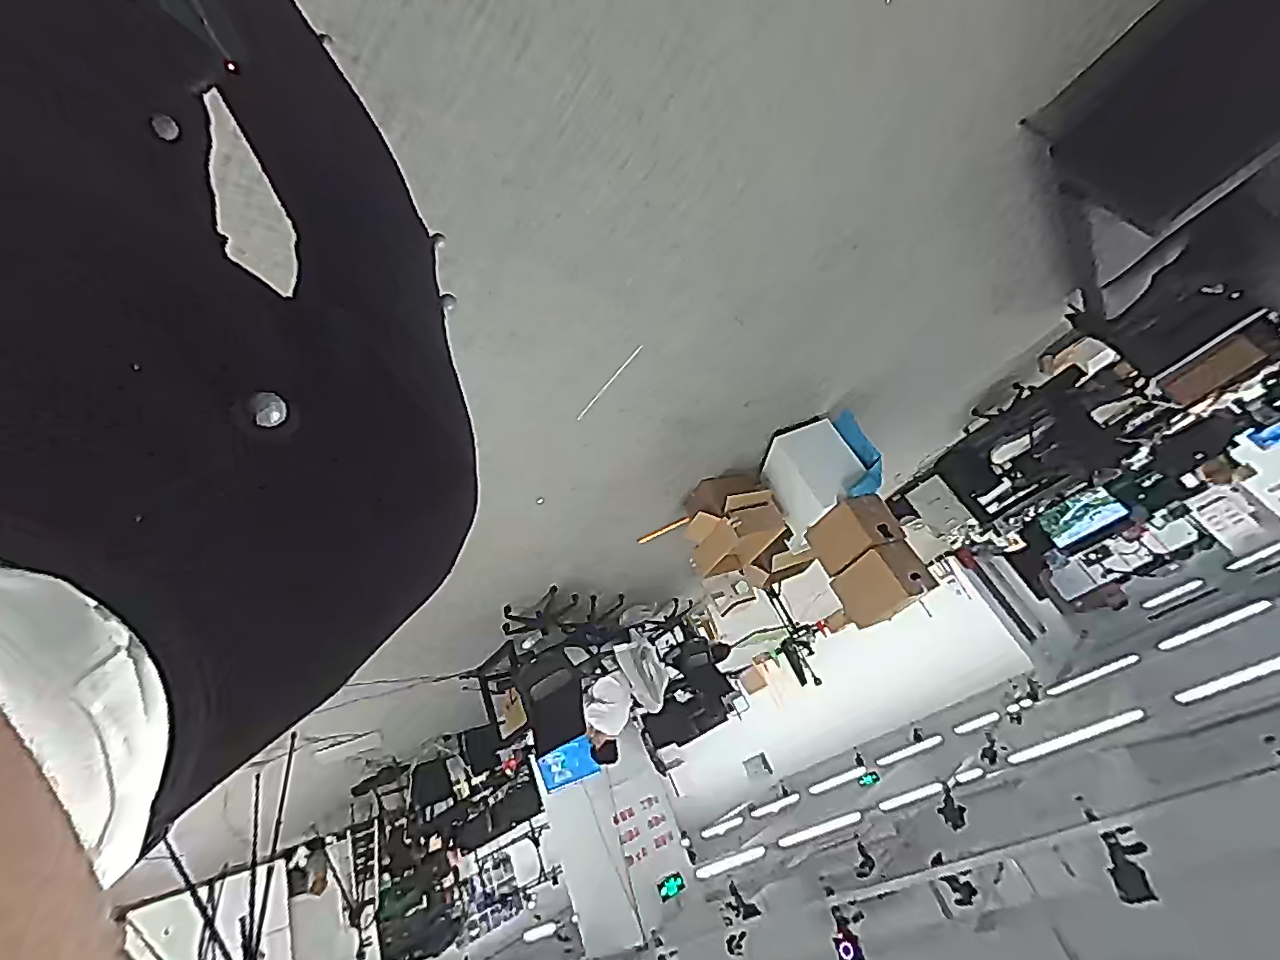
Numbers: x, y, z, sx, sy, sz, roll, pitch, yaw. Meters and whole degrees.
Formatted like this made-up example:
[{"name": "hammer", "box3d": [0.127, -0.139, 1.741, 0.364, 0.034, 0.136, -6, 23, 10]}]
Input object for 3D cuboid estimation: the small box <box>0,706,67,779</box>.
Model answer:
[{"name": "small box", "box3d": [-1.607, 0.700, 1.379, 0.179, 0.176, 0.168, 10, 137, -47]}]
